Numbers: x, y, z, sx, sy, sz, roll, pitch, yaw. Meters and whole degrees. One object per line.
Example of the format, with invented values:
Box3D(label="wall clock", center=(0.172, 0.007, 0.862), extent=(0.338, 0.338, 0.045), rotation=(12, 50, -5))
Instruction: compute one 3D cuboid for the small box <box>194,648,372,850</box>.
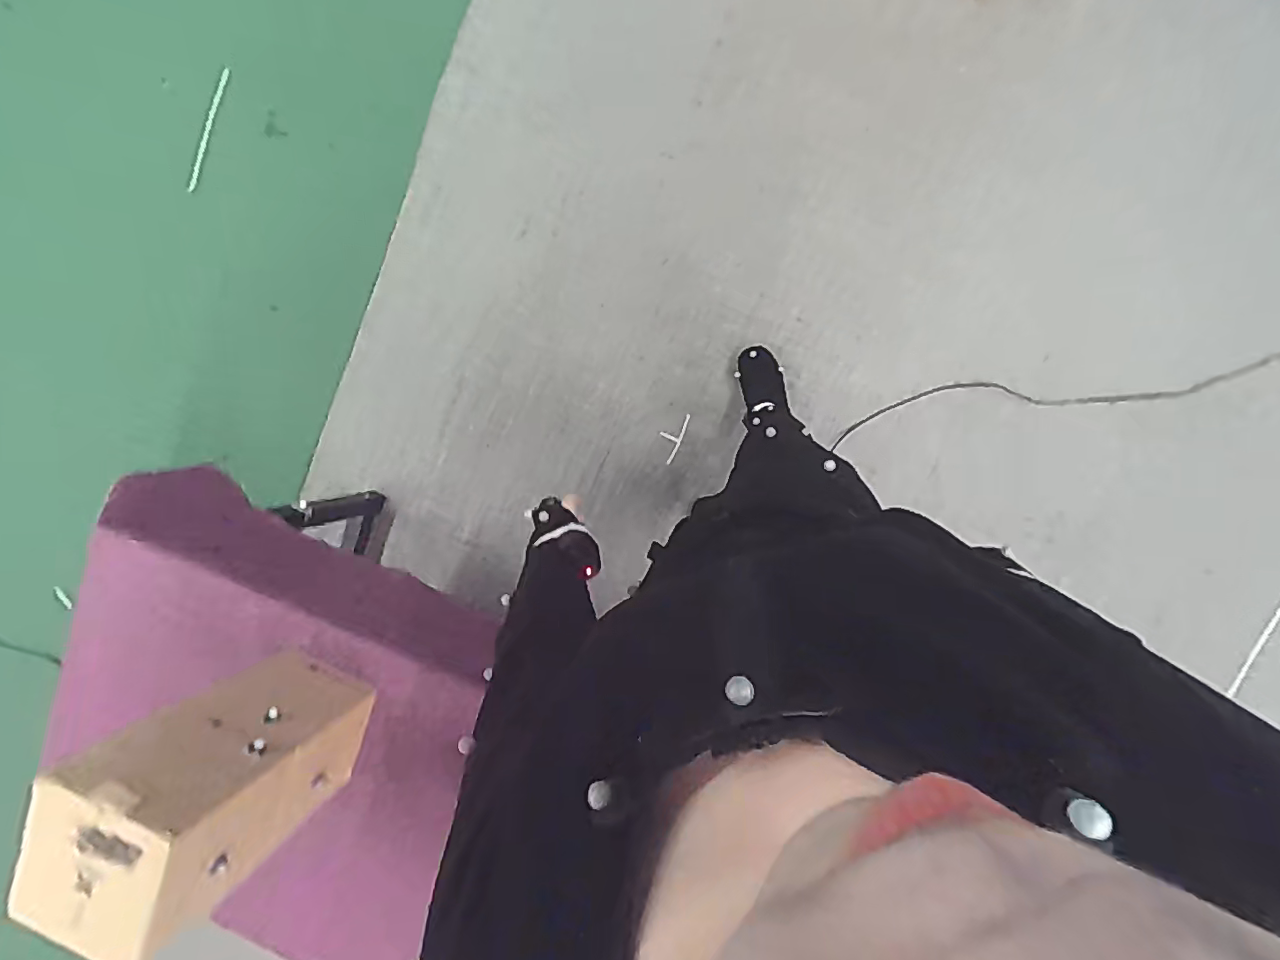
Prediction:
Box3D(label="small box", center=(-0.533, 0.385, 0.803), extent=(0.168, 0.176, 0.179), rotation=(21, 99, 4))

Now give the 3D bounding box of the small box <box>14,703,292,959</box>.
Box3D(label="small box", center=(-0.557, 0.401, 0.641), extent=(0.168, 0.176, 0.179), rotation=(20, 98, 6))
